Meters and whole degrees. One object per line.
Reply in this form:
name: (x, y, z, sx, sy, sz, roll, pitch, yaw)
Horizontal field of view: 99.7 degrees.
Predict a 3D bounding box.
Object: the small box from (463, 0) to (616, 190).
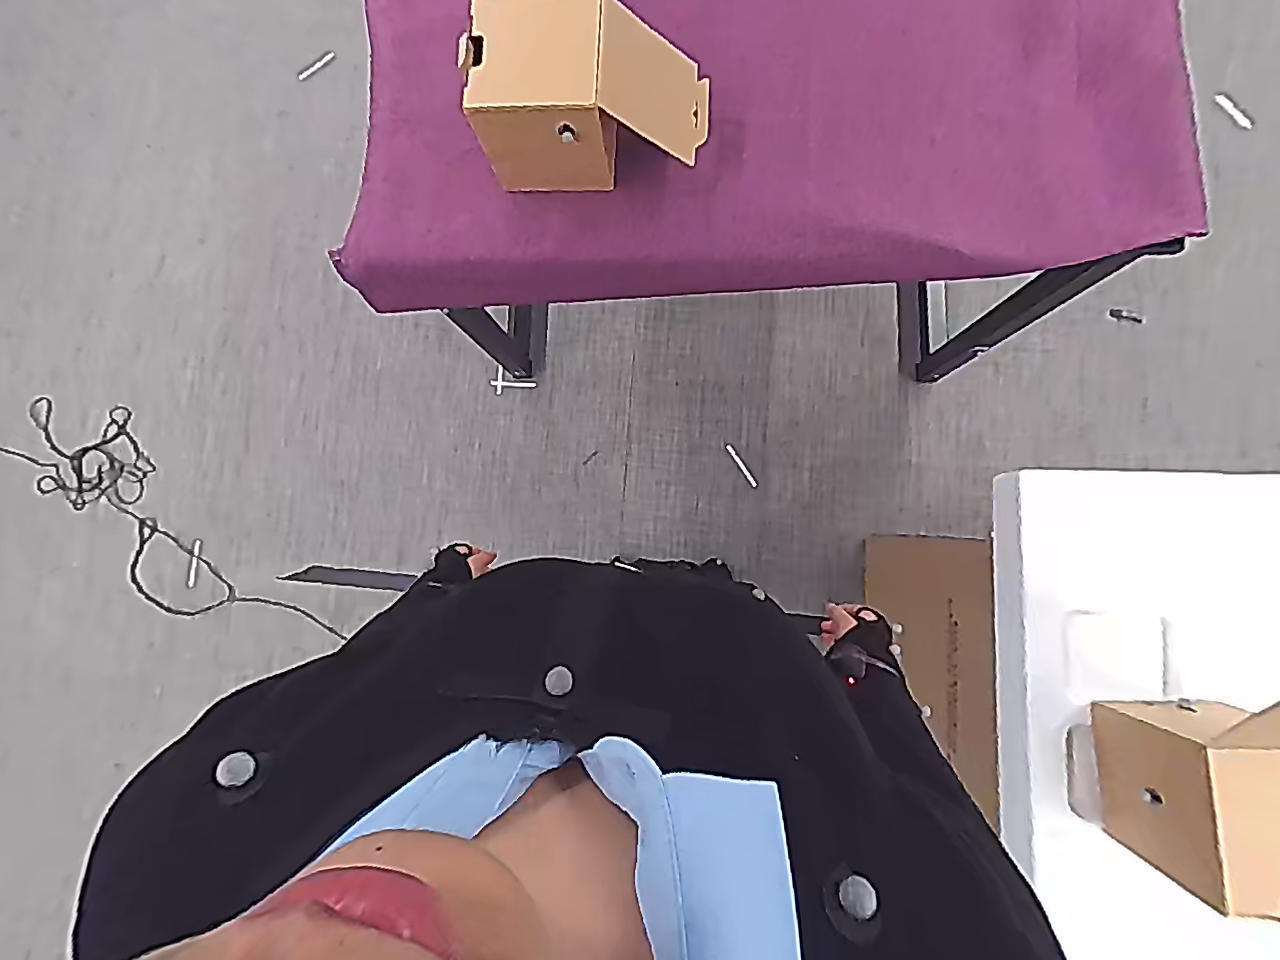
small box: (-0.131, -0.541, 0.772, 0.179, 0.176, 0.168, 2, 83, 5)
